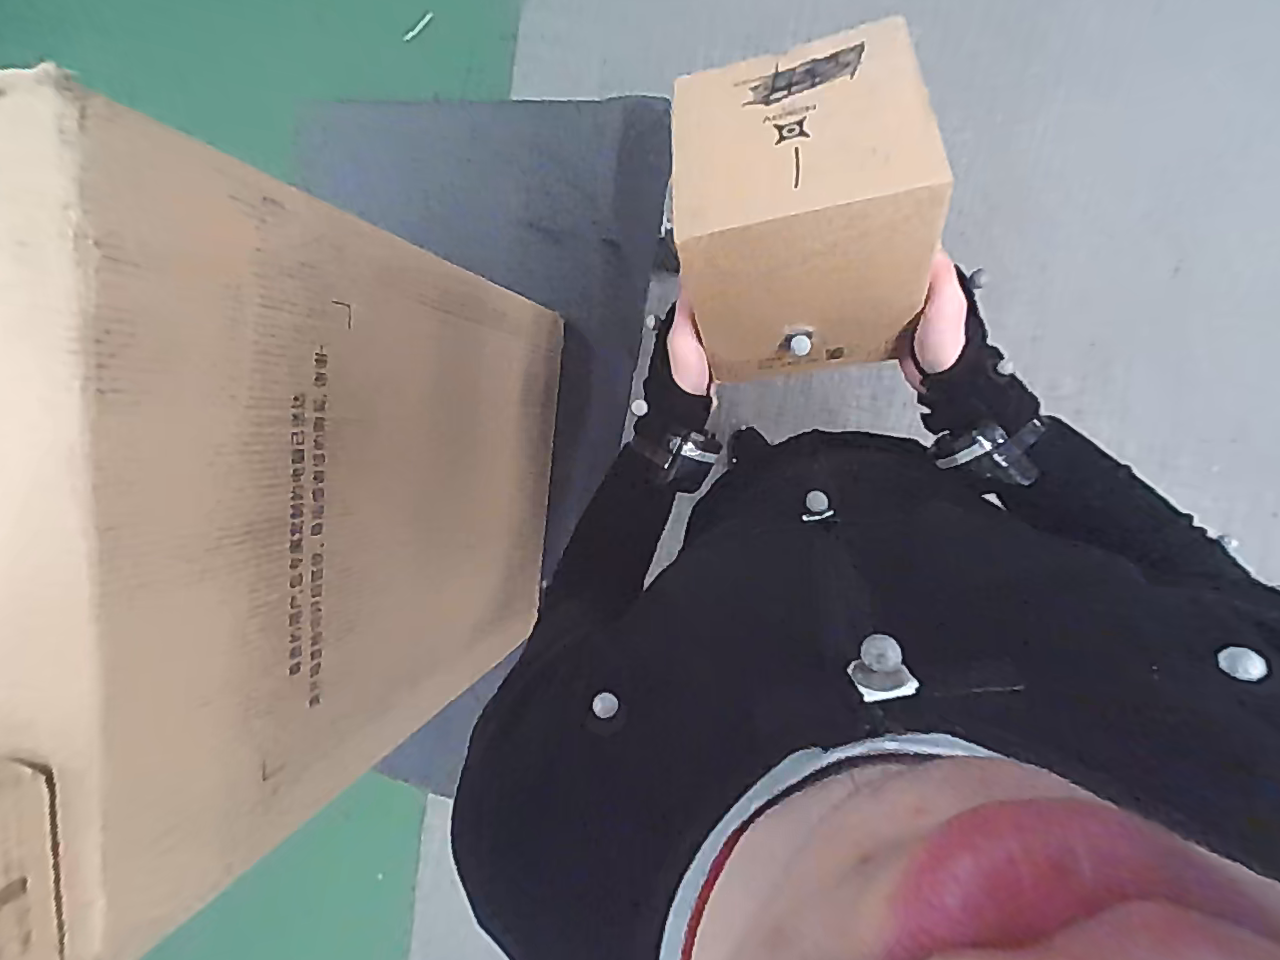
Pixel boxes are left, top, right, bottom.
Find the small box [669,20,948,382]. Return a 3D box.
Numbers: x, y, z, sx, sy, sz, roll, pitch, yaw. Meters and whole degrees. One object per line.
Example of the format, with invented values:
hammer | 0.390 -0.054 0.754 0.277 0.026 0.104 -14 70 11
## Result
small box | 0.124 -0.203 0.431 0.168 0.176 0.179 -4 66 16
